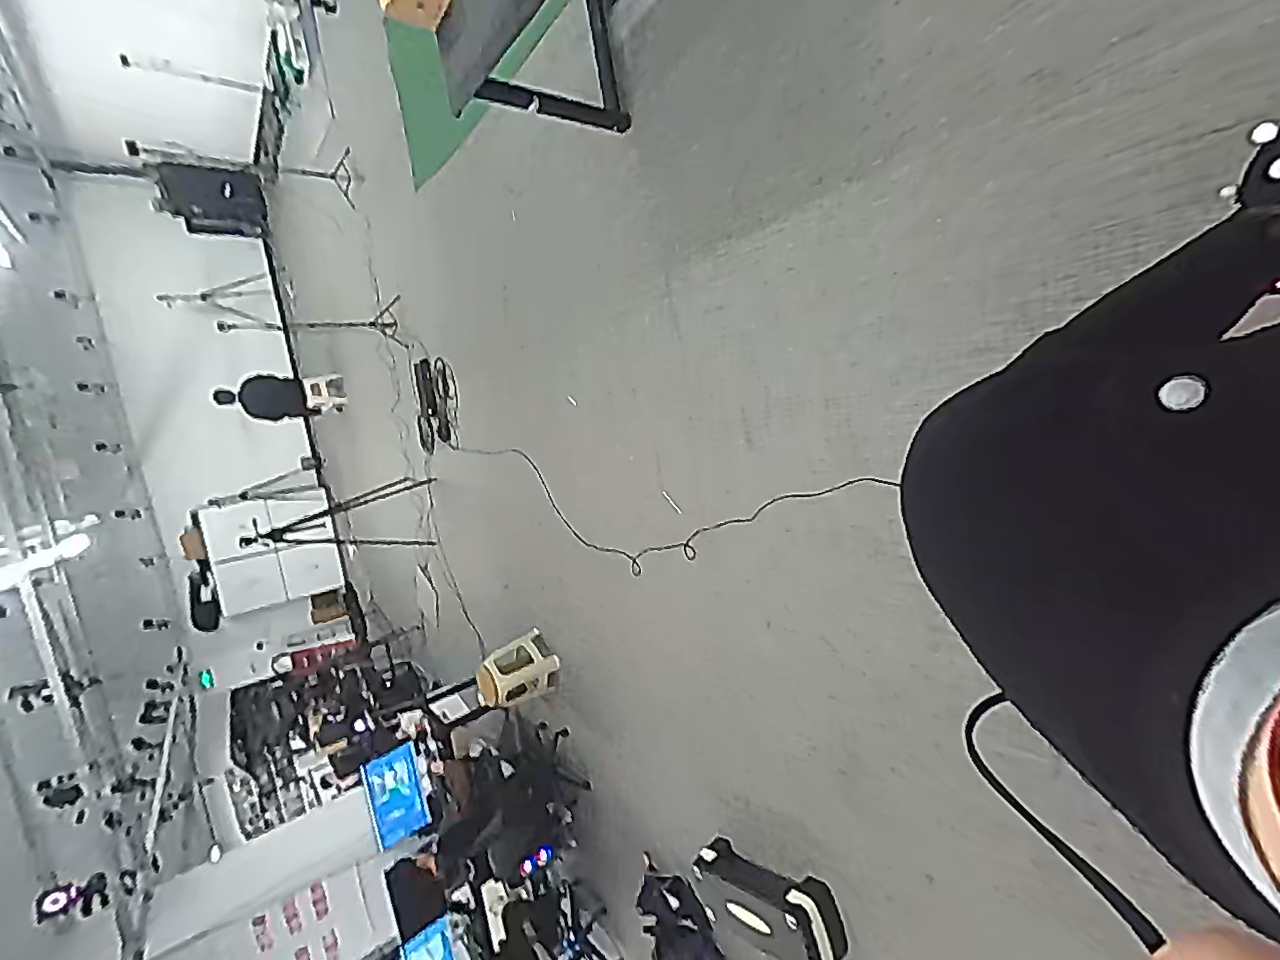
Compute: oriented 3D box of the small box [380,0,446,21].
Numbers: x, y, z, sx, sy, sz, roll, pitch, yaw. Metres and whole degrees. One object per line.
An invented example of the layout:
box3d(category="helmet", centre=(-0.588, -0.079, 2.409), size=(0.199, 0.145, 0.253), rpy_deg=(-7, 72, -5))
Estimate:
box3d(category="small box", centre=(-0.703, -1.559, 1.656), size=(0.168, 0.176, 0.179), rpy_deg=(-2, 101, 50))
